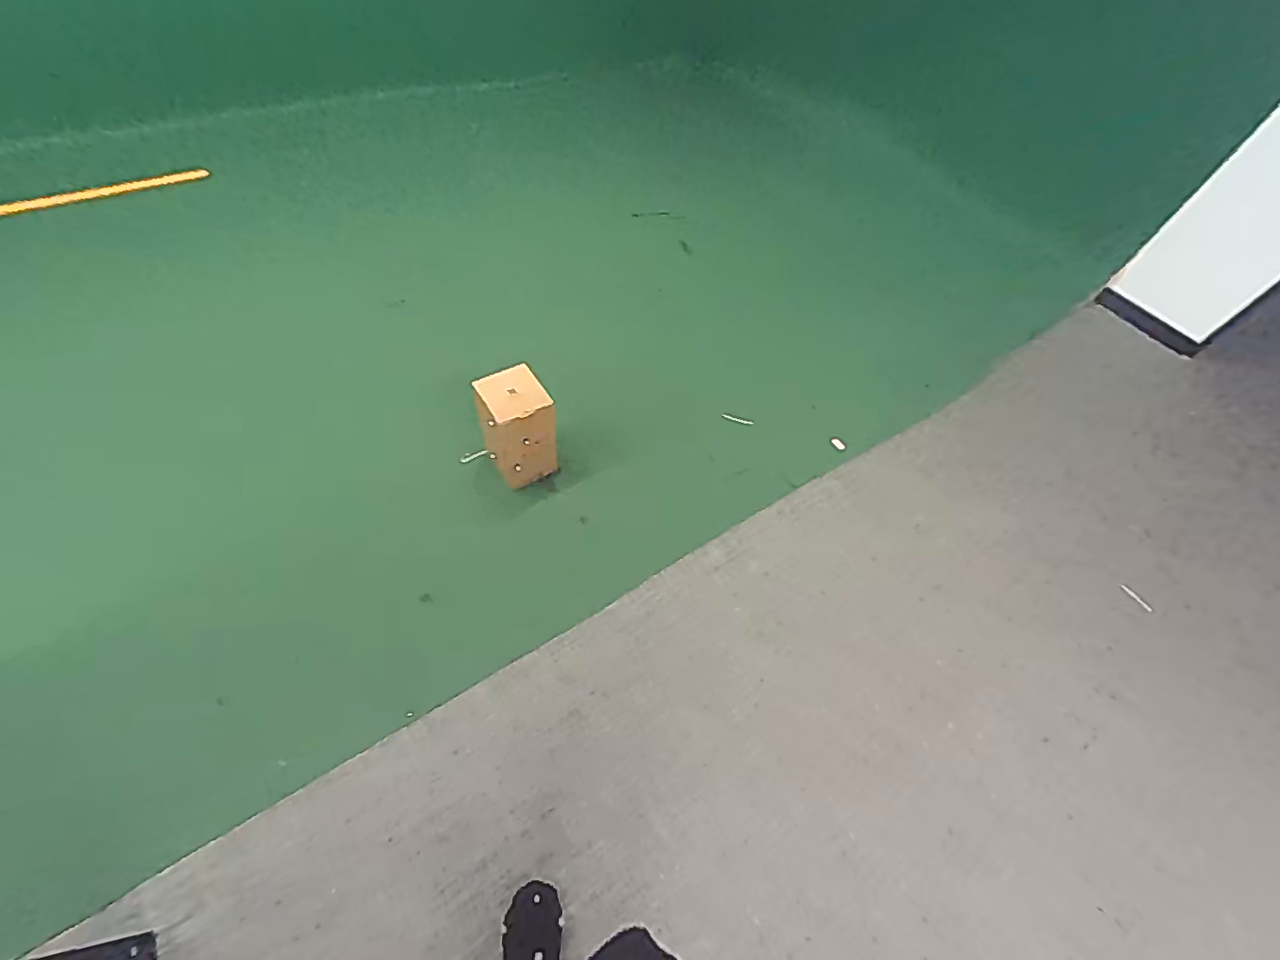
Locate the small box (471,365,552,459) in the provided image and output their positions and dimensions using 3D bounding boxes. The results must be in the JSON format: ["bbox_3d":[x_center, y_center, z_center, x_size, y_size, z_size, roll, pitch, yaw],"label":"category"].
[{"bbox_3d":[-0.366,-0.192,1.552,0.168,0.176,0.179,-26,63,-24],"label":"small box"}]
